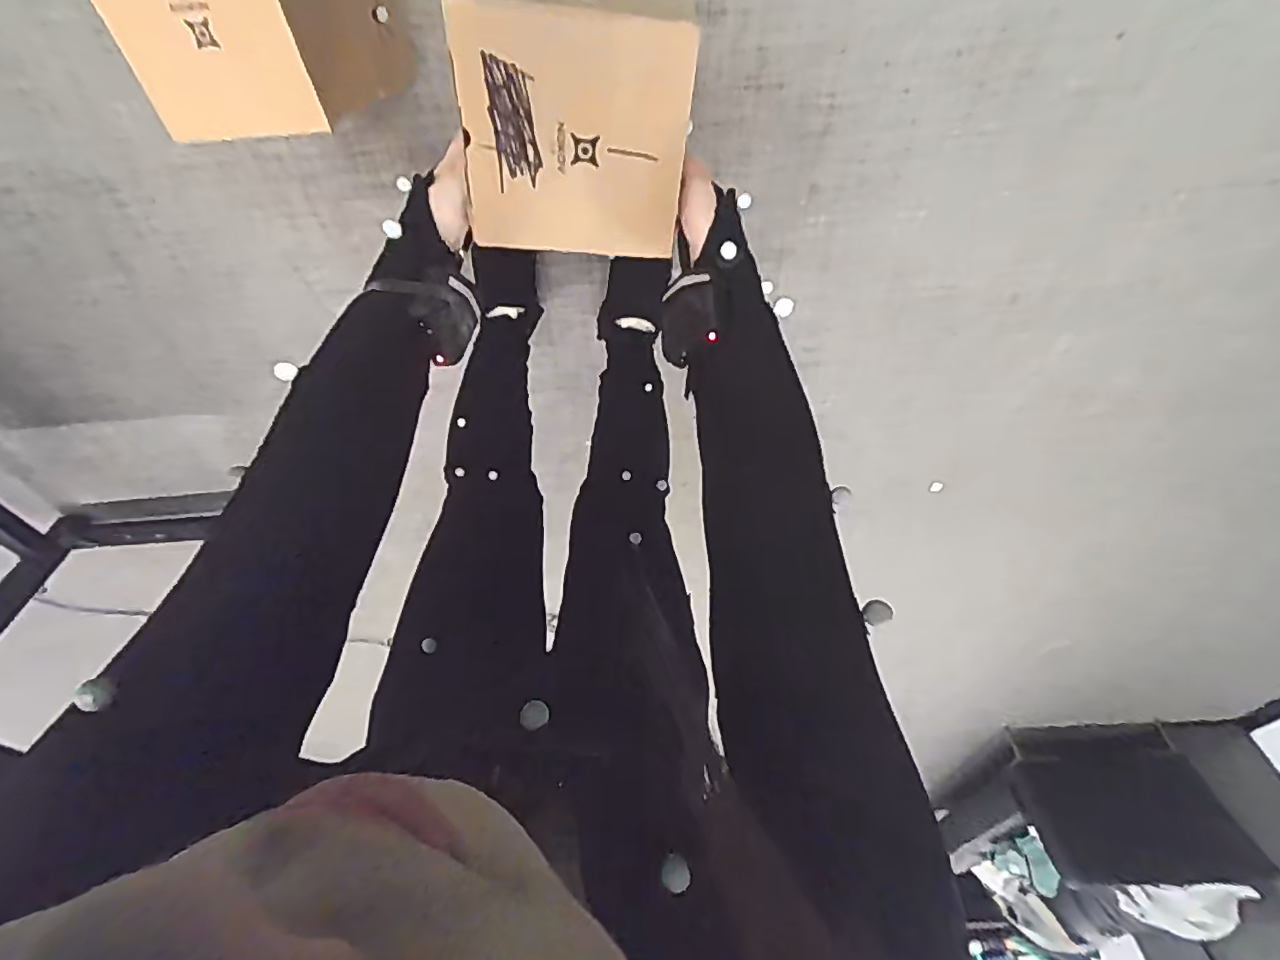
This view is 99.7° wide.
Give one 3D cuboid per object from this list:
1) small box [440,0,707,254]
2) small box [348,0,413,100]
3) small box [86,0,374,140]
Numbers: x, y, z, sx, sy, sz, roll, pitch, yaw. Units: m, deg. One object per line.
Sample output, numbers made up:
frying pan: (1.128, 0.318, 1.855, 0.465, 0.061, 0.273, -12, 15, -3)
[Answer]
small box: (-0.051, -0.316, 0.461, 0.179, 0.176, 0.168, 2, 137, -5)
small box: (-0.398, -0.577, 0.649, 0.168, 0.176, 0.179, -5, 138, 3)
small box: (-0.394, -0.463, 0.532, 0.168, 0.176, 0.179, -4, 136, 2)
